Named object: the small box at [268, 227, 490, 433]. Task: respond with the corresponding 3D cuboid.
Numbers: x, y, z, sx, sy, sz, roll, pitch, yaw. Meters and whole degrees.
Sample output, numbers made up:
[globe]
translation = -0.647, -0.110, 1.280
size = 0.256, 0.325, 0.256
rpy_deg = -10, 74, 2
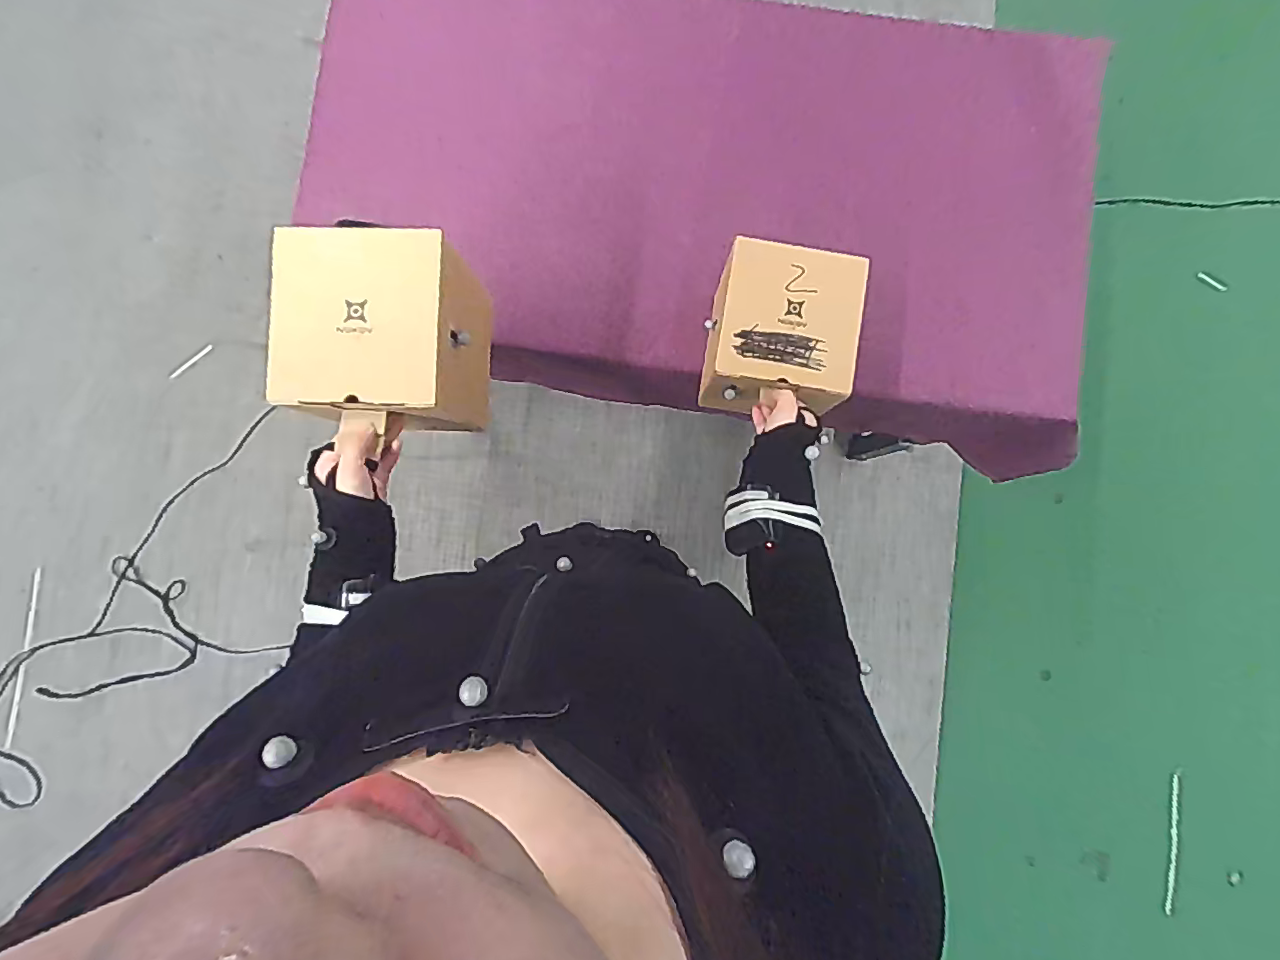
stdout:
[small box]
translation = -0.271, -0.152, 0.600
size = 0.168, 0.176, 0.179
rpy_deg = 2, 88, 0
